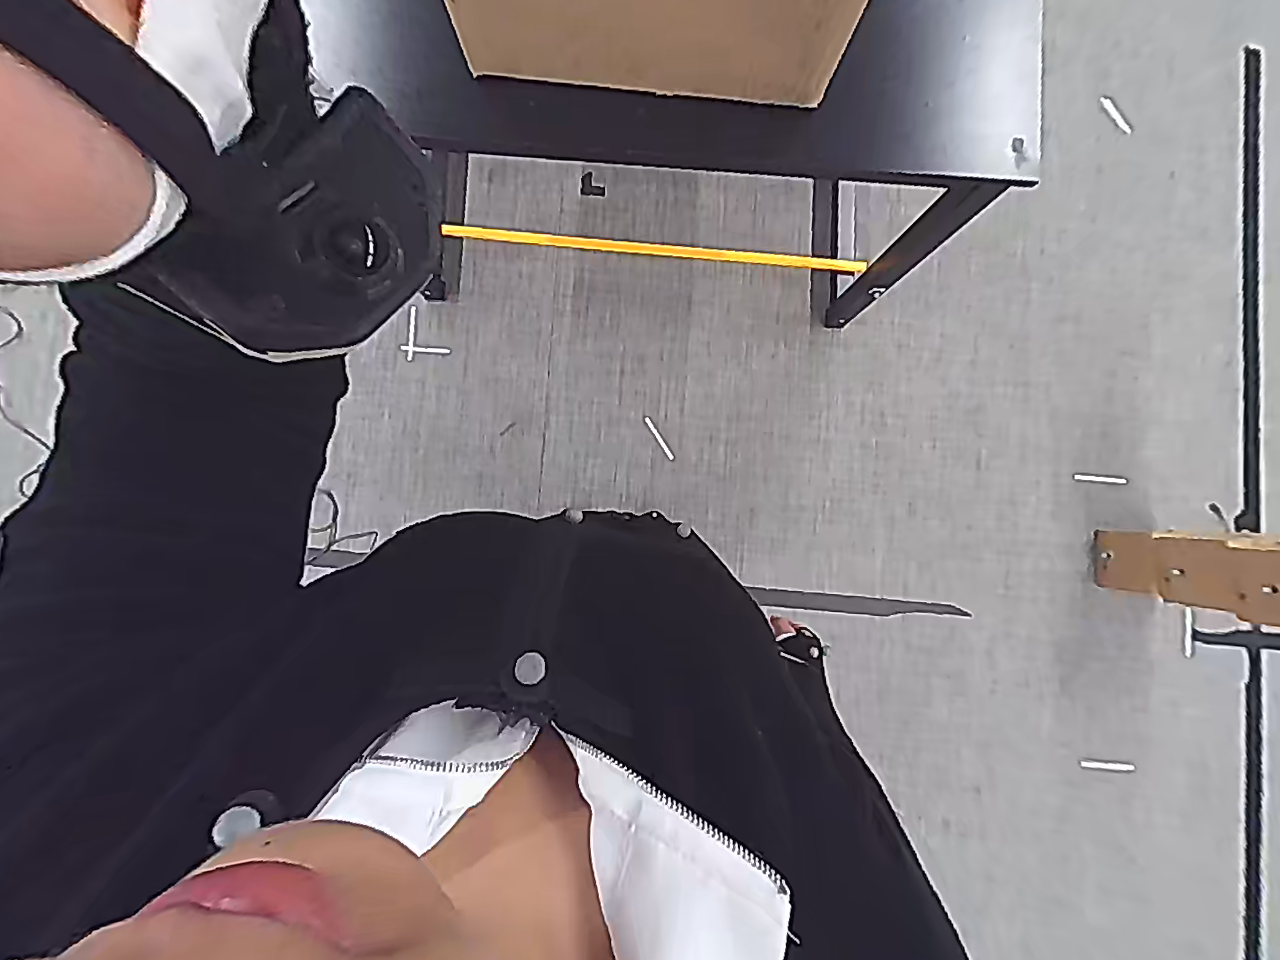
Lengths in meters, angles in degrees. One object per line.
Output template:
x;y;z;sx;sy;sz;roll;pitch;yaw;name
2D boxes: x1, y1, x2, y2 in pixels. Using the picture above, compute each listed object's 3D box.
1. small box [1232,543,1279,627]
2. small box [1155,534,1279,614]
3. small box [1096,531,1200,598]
1.400;0.219;1.125;0.179;0.176;0.168;-6;86;-2;small box
1.399;0.217;1.289;0.179;0.176;0.168;-4;86;-2;small box
1.382;0.223;1.454;0.179;0.176;0.168;1;86;0;small box
